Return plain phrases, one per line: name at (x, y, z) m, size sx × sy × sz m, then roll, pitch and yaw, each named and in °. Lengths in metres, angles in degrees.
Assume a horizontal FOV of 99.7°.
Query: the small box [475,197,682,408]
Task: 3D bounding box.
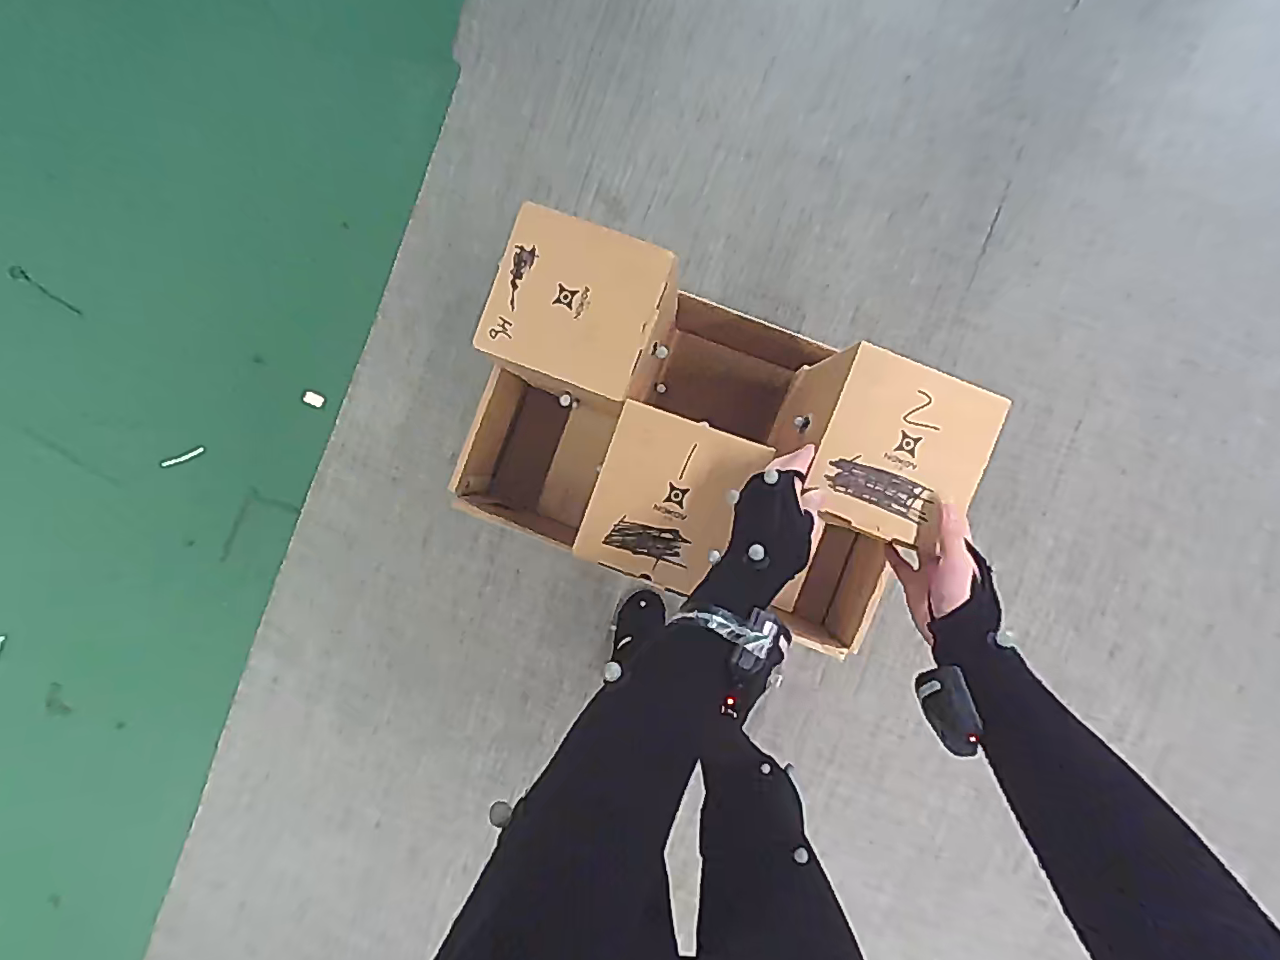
small box at (-0.061, -0.193, 0.644) m, size 0.179 × 0.176 × 0.168 m, roll 22°, pitch 92°, yaw 2°
